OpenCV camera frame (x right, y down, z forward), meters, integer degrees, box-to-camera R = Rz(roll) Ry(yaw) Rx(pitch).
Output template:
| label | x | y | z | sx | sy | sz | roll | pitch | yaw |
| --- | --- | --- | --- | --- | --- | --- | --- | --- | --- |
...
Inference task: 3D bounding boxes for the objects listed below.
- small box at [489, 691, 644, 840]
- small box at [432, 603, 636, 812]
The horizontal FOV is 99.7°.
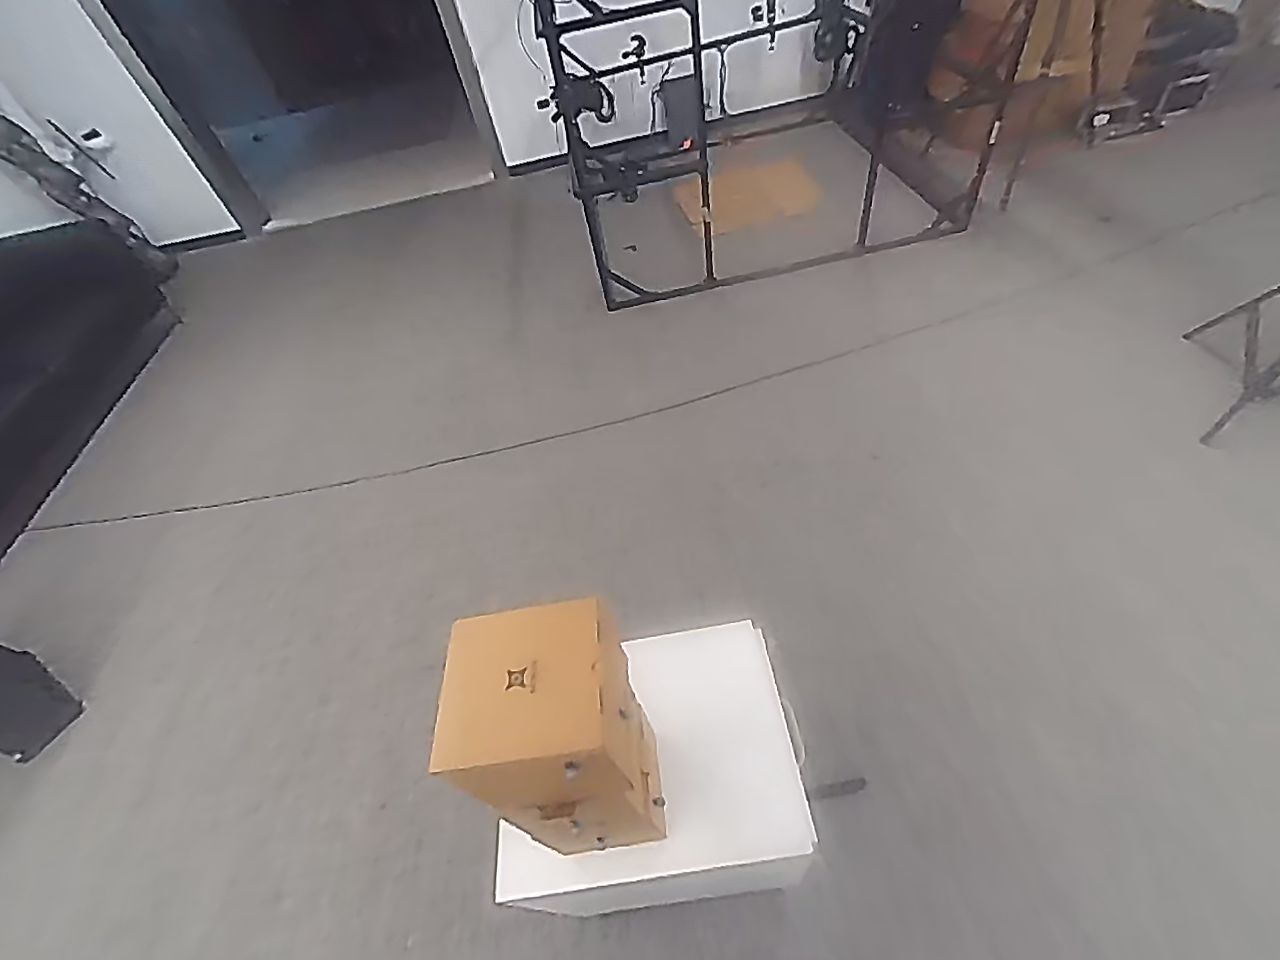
| label | x | y | z | sx | sy | sz | roll | pitch | yaw |
| --- | --- | --- | --- | --- | --- | --- | --- | --- | --- |
| small box | -0.091 | 0.375 | 0.749 | 0.168 | 0.176 | 0.179 | -10 | 47 | 5 |
| small box | -0.109 | 0.268 | 0.627 | 0.179 | 0.176 | 0.168 | -10 | 47 | 3 |
